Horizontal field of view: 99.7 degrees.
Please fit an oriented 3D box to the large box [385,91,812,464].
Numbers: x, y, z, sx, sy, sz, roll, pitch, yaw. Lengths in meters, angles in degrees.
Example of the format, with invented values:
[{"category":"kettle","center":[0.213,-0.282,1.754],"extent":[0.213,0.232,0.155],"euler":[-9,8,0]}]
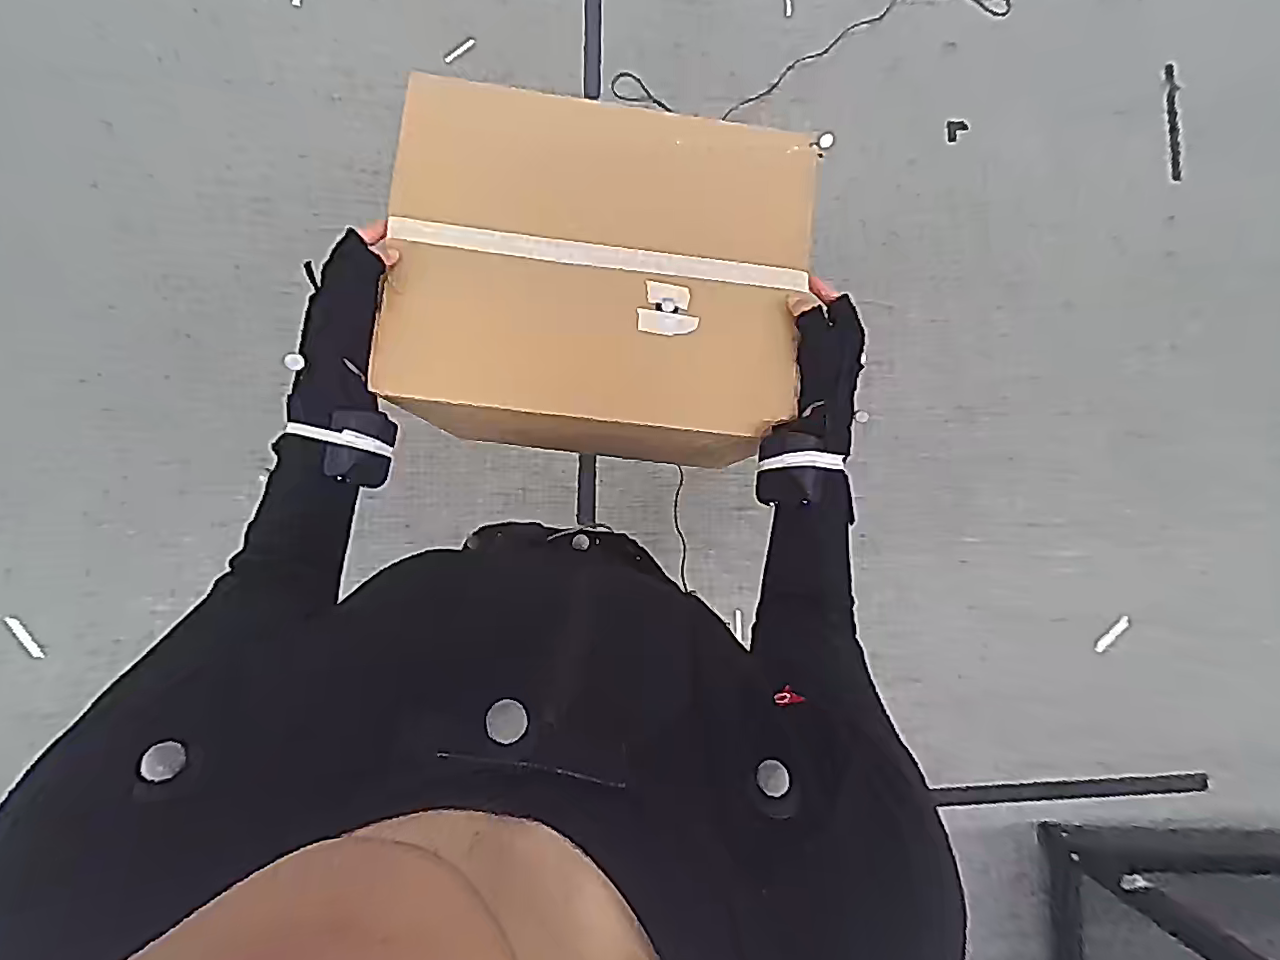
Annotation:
[{"category":"large box","center":[-0.046,-0.202,0.681],"extent":[0.408,0.320,0.320],"euler":[7,87,-5]}]
